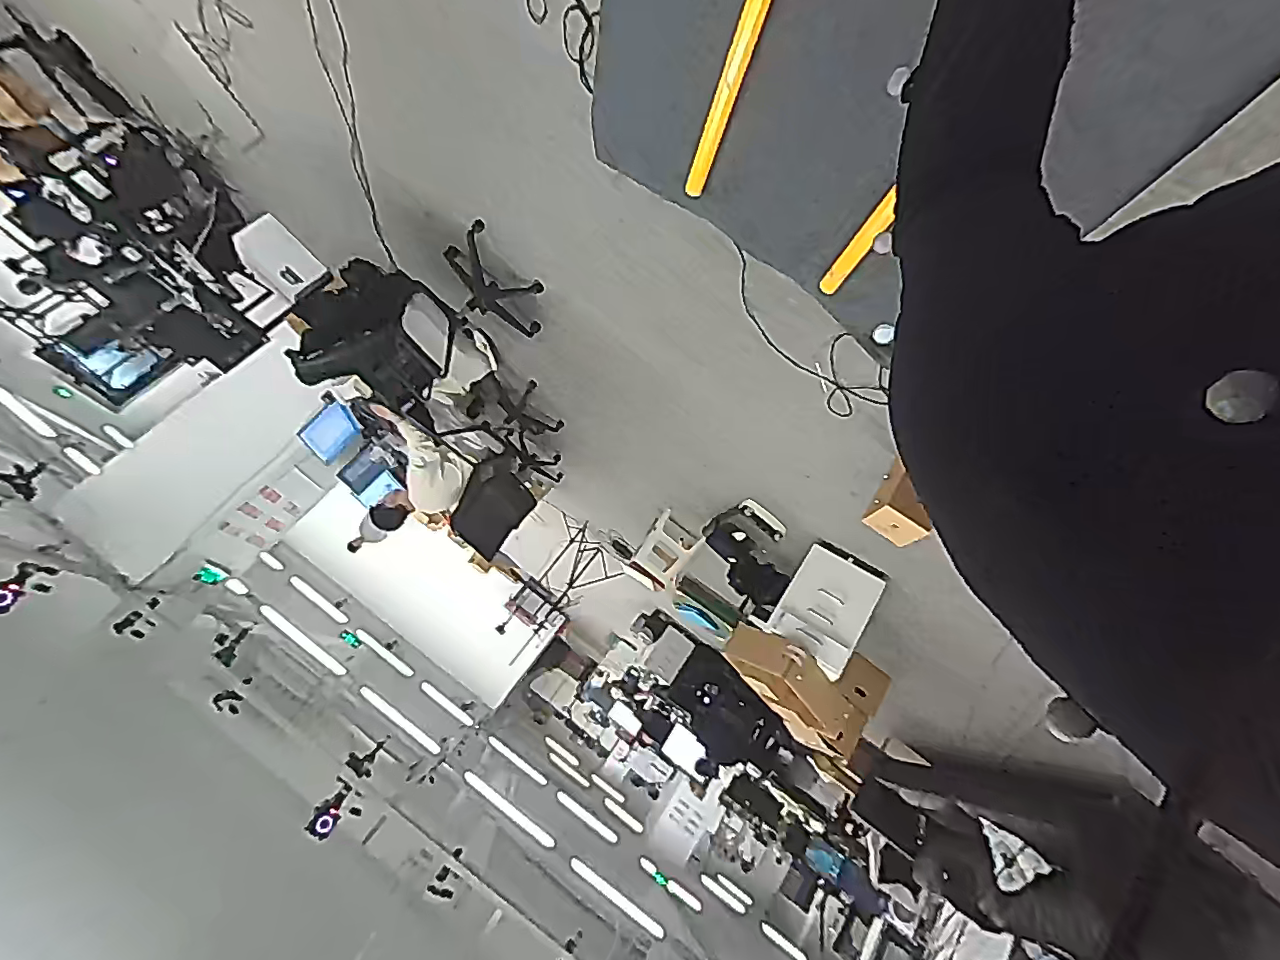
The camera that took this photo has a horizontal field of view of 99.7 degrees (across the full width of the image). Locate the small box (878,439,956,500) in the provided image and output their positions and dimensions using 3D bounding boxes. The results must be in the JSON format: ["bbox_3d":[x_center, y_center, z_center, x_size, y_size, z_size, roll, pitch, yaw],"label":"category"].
[{"bbox_3d":[1.003,-0.017,1.949,0.168,0.176,0.179,35,158,5],"label":"small box"}]

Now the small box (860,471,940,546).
[{"bbox_3d":[0.907,0.097,1.879,0.168,0.176,0.179,35,158,7],"label":"small box"}]
